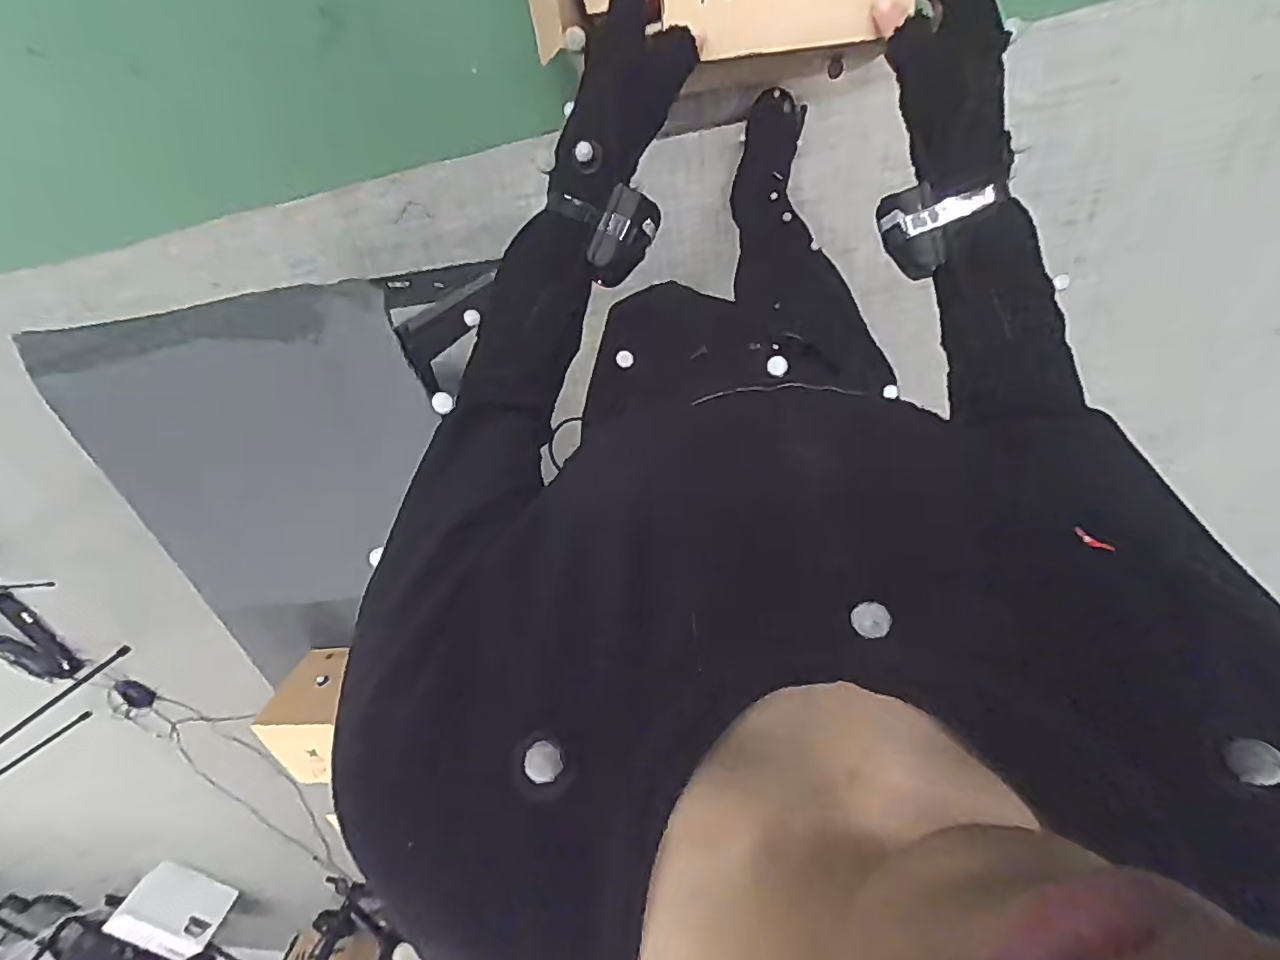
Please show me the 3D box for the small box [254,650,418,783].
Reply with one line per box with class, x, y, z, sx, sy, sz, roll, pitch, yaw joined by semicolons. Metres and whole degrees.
small box;-0.551;0.435;1.008;0.168;0.176;0.179;-6;121;13
